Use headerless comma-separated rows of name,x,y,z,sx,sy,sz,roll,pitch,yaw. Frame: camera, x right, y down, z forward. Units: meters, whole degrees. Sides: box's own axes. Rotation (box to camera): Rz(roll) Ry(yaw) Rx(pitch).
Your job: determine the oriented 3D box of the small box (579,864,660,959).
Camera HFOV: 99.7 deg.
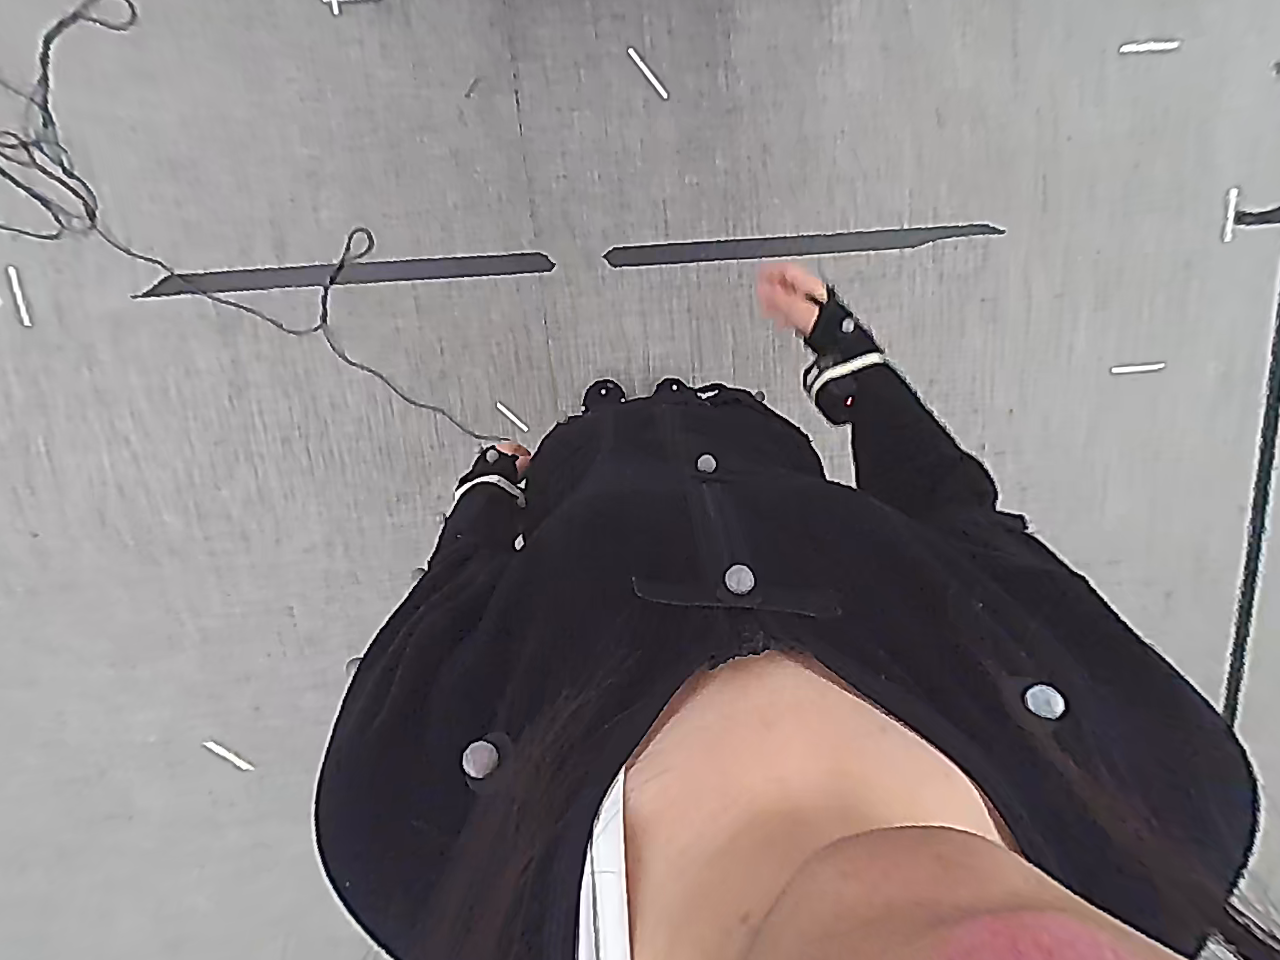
small box,-0.048,1.063,1.296,0.179,0.176,0.168,-5,98,-2
